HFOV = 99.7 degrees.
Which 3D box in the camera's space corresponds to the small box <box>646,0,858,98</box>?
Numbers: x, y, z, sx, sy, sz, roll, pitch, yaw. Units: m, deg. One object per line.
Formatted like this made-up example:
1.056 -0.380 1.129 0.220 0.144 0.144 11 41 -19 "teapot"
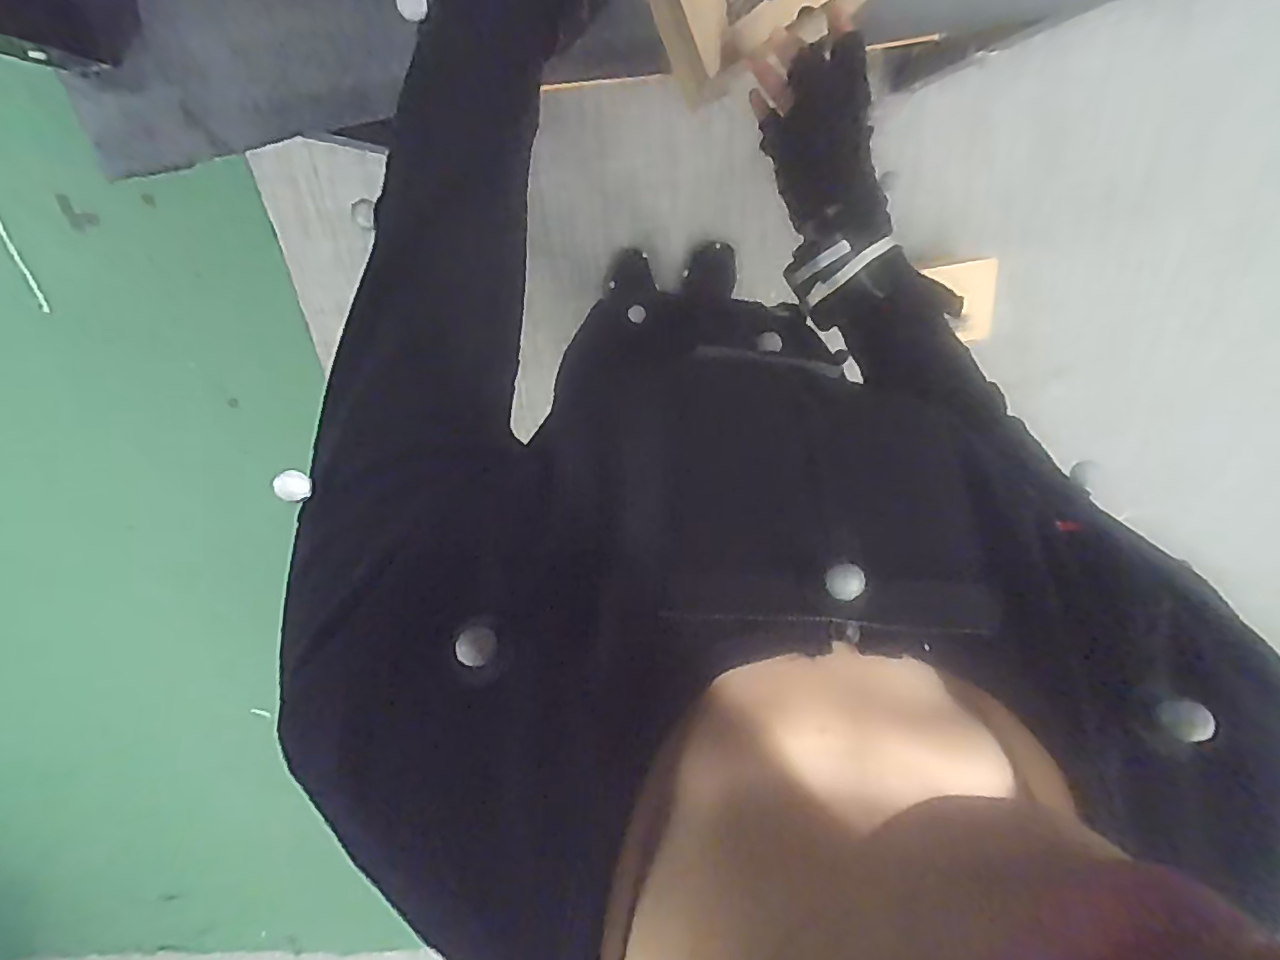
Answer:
0.085 -0.449 0.443 0.168 0.176 0.179 -24 114 12 "small box"
